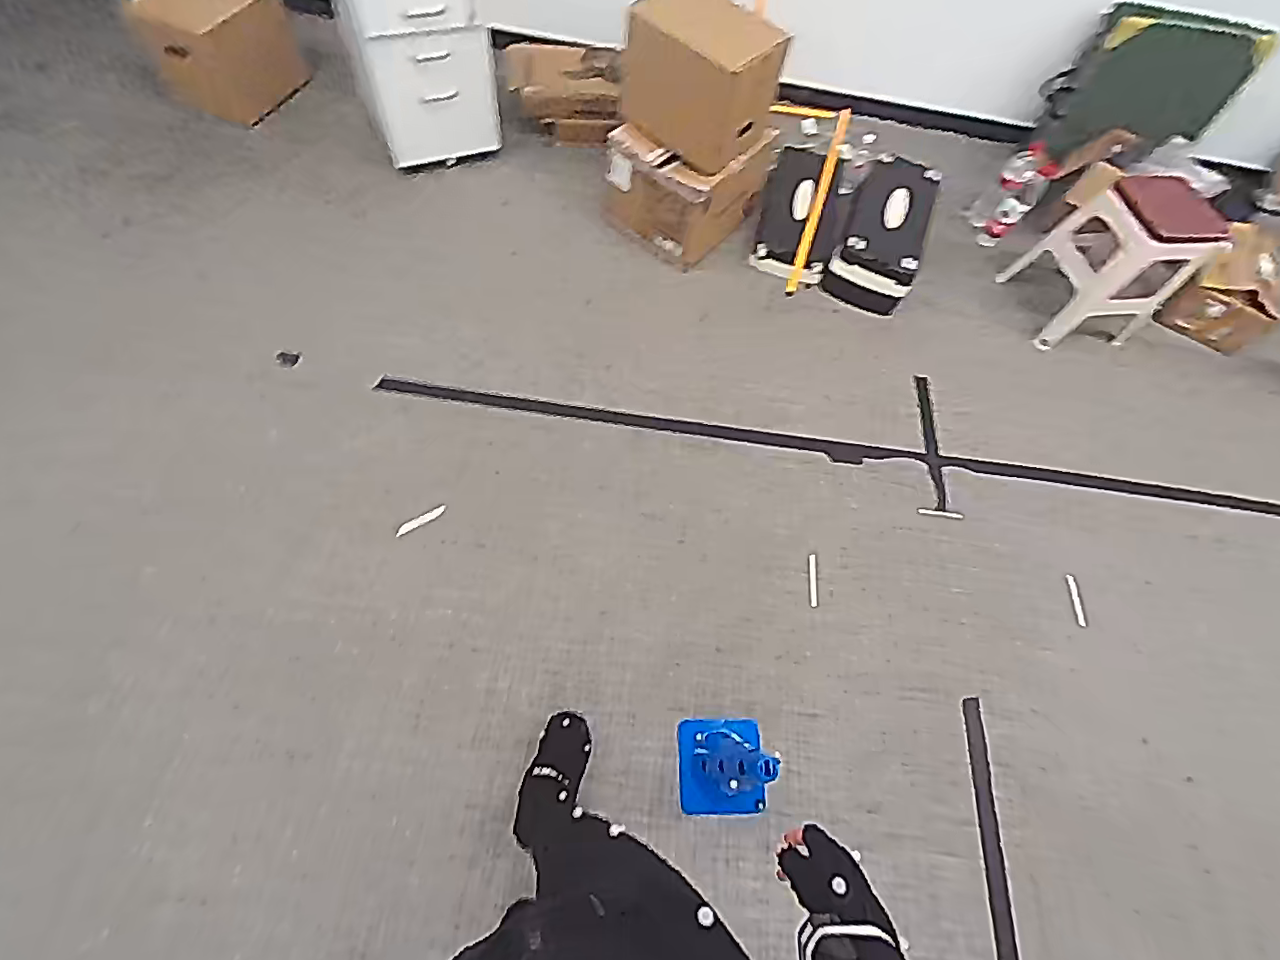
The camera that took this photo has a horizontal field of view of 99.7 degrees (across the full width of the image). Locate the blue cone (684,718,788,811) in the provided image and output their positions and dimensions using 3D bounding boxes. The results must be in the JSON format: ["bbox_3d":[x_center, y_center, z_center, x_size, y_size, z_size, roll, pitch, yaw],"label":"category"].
[{"bbox_3d":[0.215,0.587,1.119,0.192,0.380,0.193,4,63,-5],"label":"blue cone"}]
